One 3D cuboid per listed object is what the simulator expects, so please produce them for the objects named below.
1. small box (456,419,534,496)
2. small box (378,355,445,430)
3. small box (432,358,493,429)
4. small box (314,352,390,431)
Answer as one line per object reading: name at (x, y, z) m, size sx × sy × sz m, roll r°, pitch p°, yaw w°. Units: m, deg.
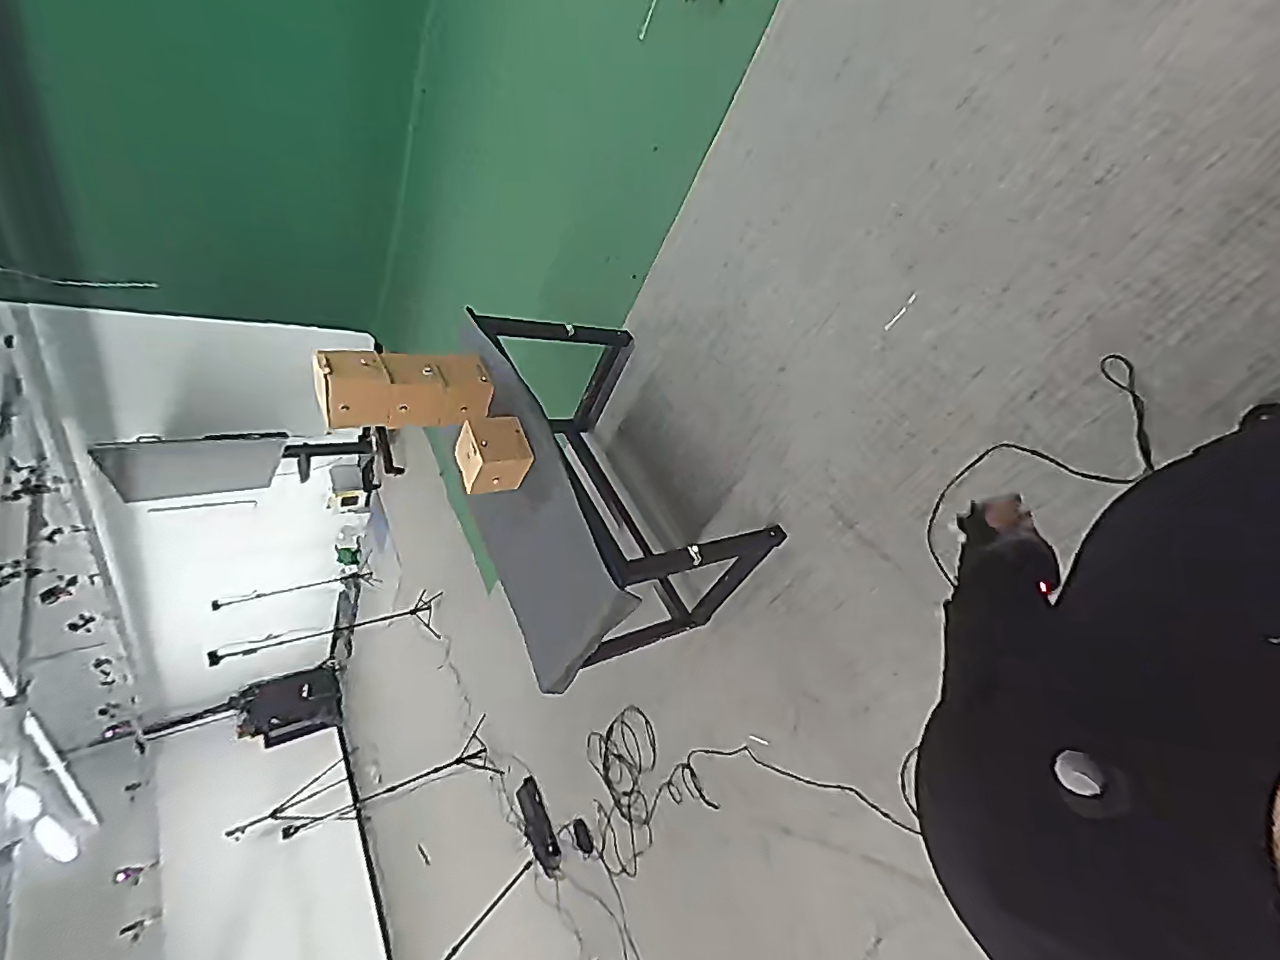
small box at (-0.448, -0.071, 1.669) m, size 0.179 × 0.176 × 0.168 m, roll -51°, pitch 58°, yaw 44°
small box at (-0.740, -0.281, 1.735) m, size 0.168 × 0.176 × 0.179 m, roll 52°, pitch 132°, yaw 30°
small box at (-0.617, -0.298, 1.838) m, size 0.168 × 0.176 × 0.179 m, roll 56°, pitch 136°, yaw 28°
small box at (-0.866, -0.268, 1.628) m, size 0.168 × 0.176 × 0.179 m, roll 49°, pitch 132°, yaw 32°
